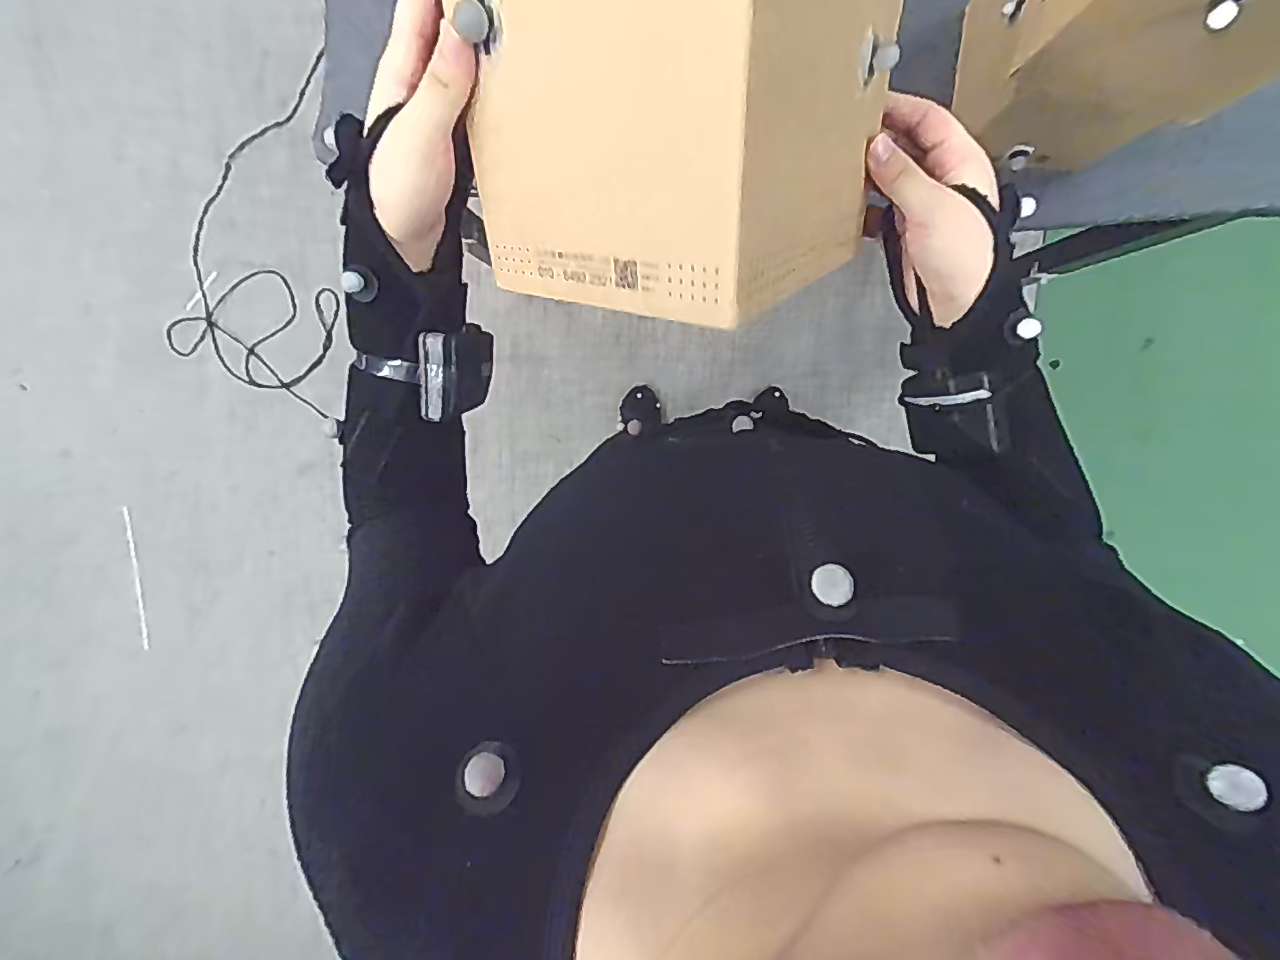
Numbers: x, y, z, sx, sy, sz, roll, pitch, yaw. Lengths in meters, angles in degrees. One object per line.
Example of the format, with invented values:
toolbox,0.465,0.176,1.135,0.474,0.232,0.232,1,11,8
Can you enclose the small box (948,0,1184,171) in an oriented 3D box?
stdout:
small box,0.451,-0.454,0.564,0.168,0.176,0.179,5,99,5

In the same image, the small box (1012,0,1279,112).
small box,0.437,-0.416,0.406,0.179,0.176,0.168,15,99,3
